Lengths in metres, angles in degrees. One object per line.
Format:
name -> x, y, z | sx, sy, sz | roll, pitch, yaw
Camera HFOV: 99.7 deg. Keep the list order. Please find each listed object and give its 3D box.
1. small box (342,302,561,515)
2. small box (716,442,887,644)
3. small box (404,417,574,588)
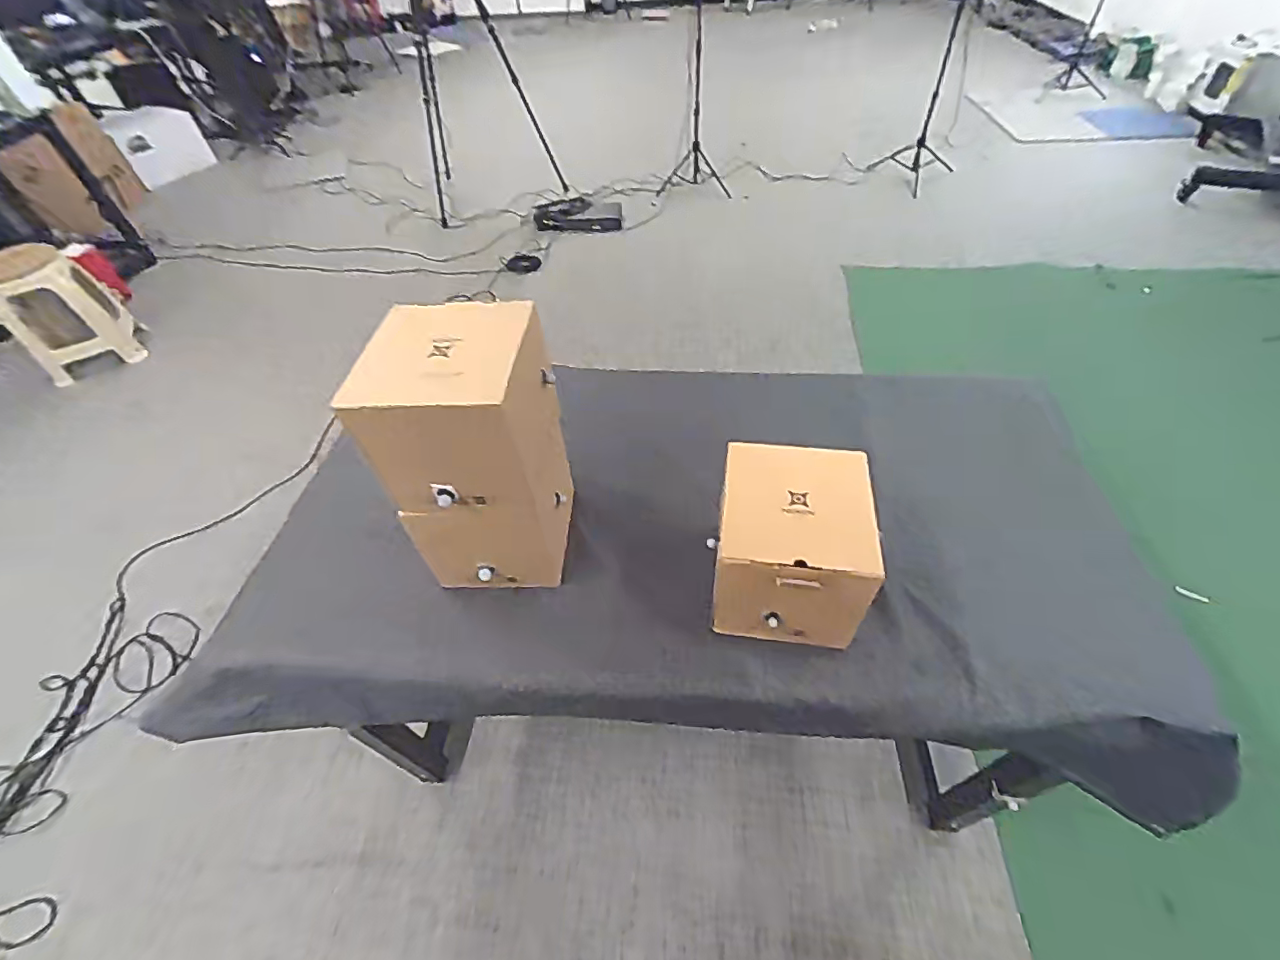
small box -> -0.190, -0.080, 0.612 | 0.168, 0.176, 0.179 | -1, 49, 5
small box -> 0.184, 0.077, 0.667 | 0.168, 0.176, 0.179 | 5, 49, 8
small box -> -0.186, 0.027, 0.733 | 0.168, 0.176, 0.179 | -1, 49, 3
